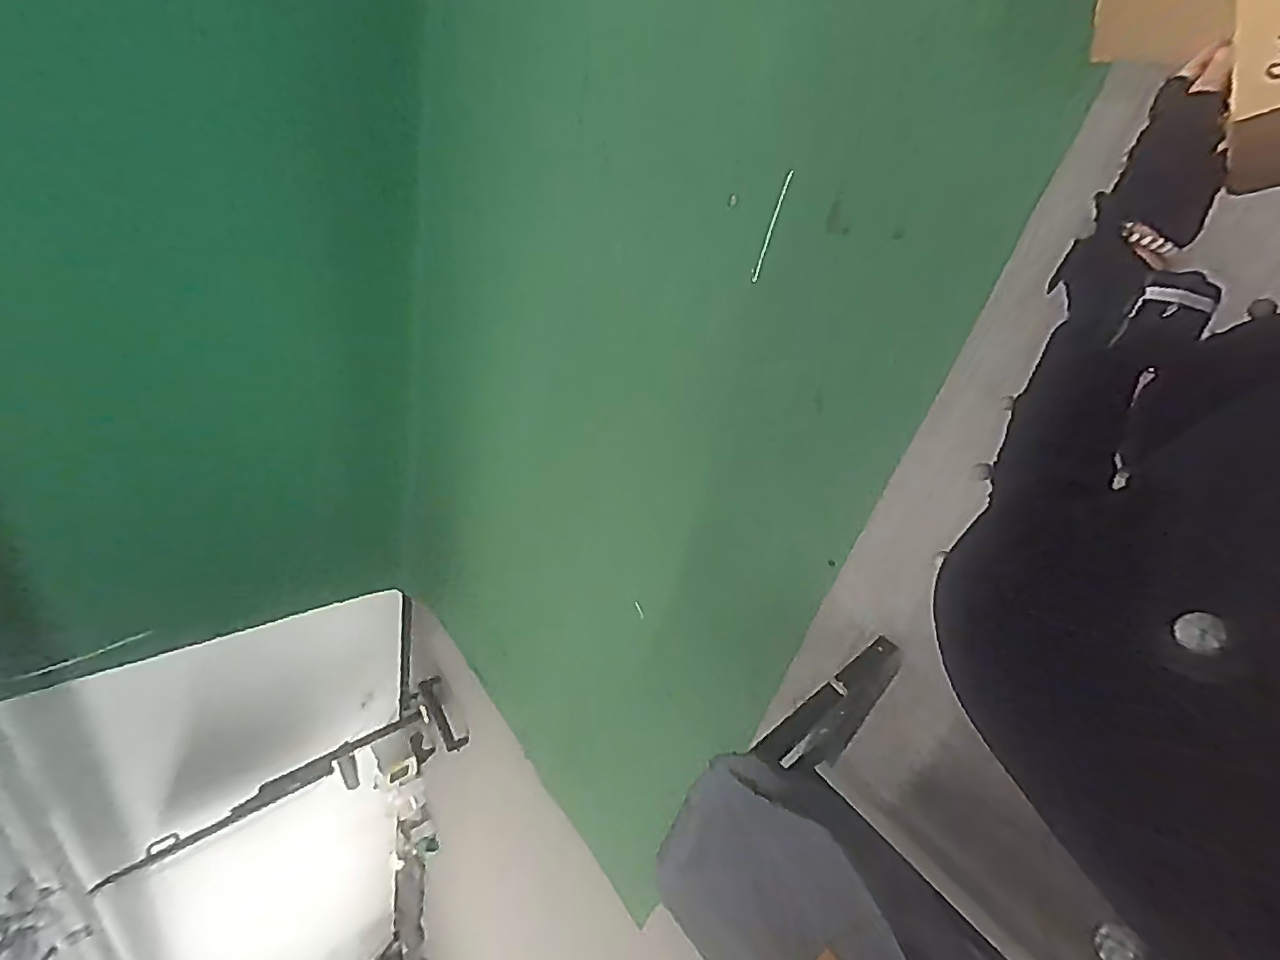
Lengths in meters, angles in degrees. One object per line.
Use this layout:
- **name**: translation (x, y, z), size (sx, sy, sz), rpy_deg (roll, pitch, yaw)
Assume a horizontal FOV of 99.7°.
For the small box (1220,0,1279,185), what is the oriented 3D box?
- **small box**: translation (0.480, -0.307, 0.320), size (0.179, 0.176, 0.168), rpy_deg (4, 97, 46)
